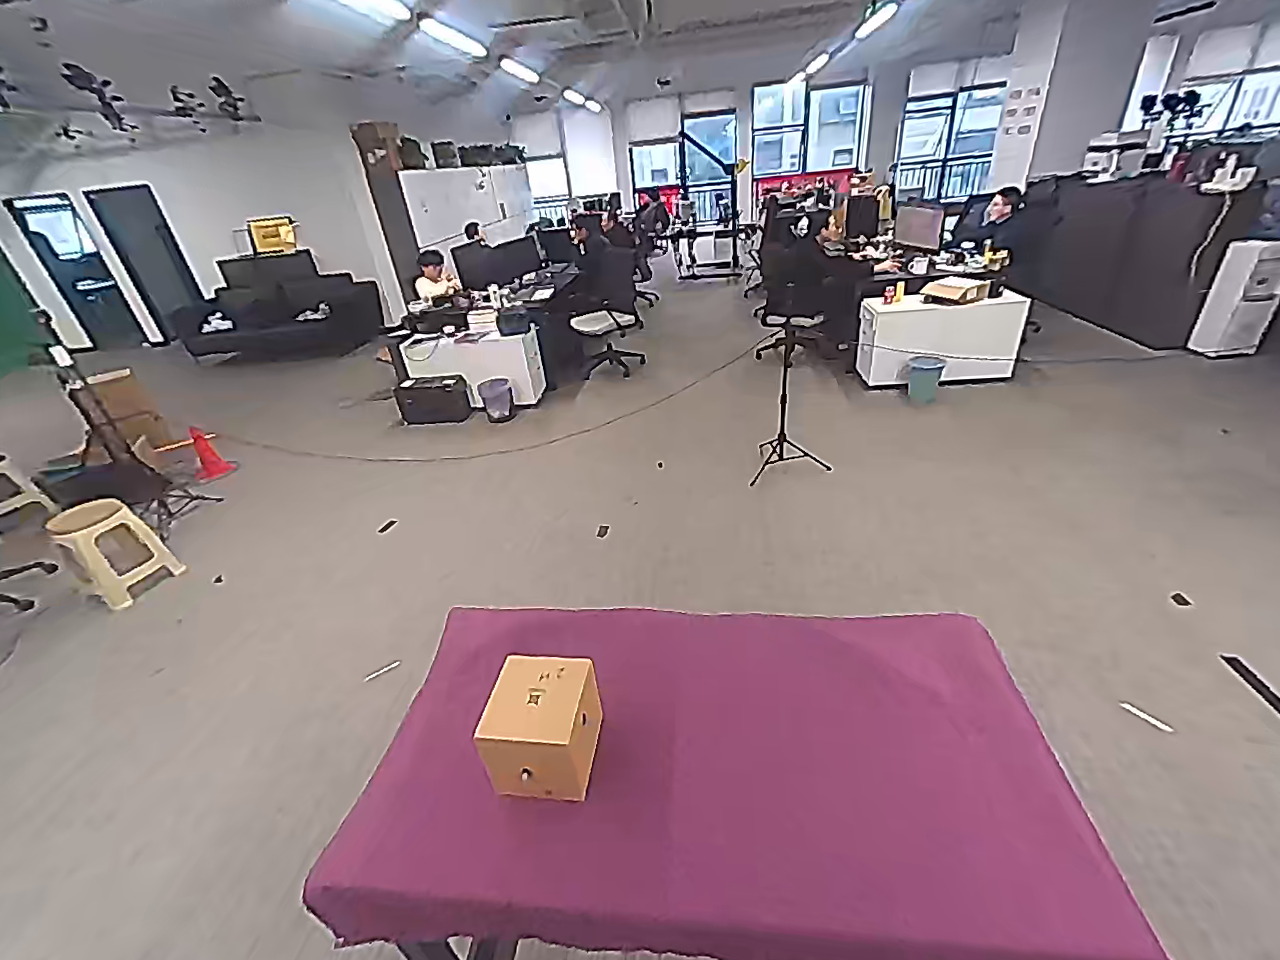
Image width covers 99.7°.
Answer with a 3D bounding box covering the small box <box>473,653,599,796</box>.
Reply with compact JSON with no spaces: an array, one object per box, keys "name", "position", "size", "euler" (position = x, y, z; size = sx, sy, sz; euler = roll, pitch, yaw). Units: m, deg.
[{"name":"small box","position":[-0.178,0.446,0.991],"size":[0.168,0.176,0.179],"euler":[0,31,10]}]
